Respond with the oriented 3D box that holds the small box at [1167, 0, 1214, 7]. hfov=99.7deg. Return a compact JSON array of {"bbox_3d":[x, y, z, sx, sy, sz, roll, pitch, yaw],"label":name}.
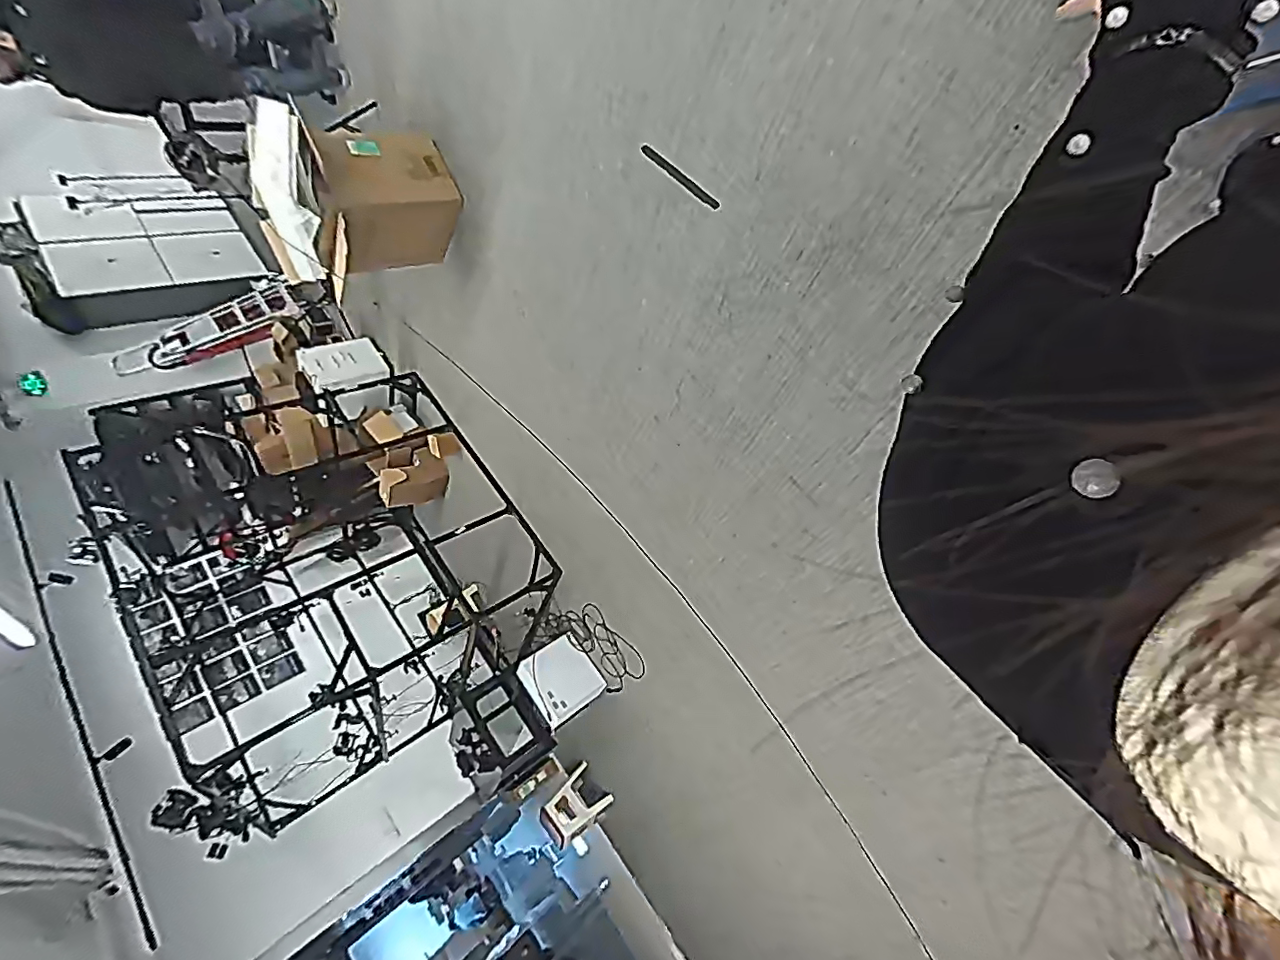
[{"bbox_3d":[0.800,-0.747,0.687,0.168,0.176,0.179,7,117,48],"label":"small box"}]
